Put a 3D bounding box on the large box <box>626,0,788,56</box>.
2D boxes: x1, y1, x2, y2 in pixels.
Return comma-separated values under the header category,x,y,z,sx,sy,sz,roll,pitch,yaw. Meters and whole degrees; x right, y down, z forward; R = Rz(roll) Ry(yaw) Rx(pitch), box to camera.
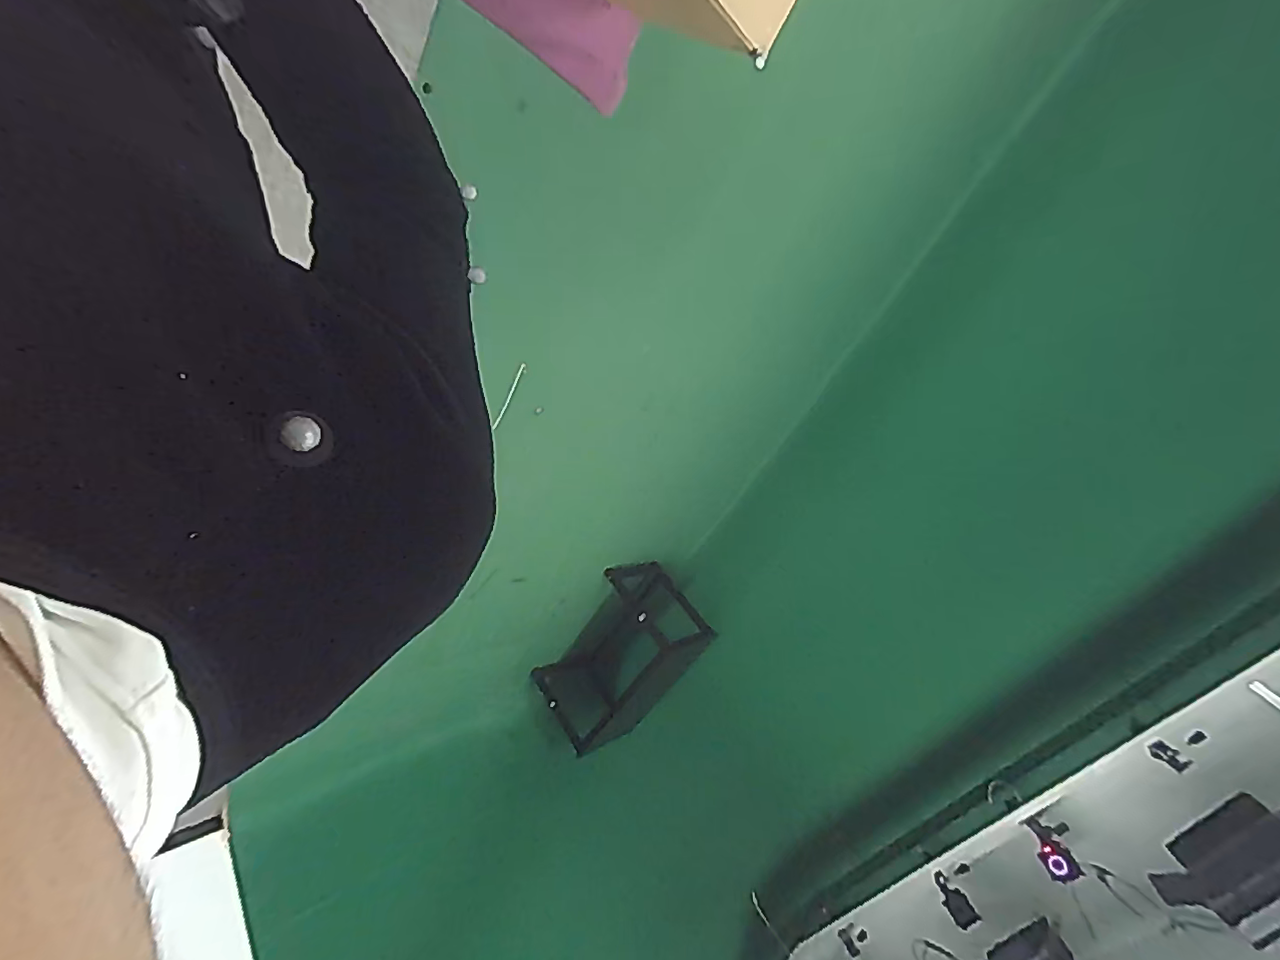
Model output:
category,x,y,z,sx,sy,sz,roll,pitch,yaw
large box,0.050,-0.746,0.511,0.320,0.320,0.408,-1,132,-49
